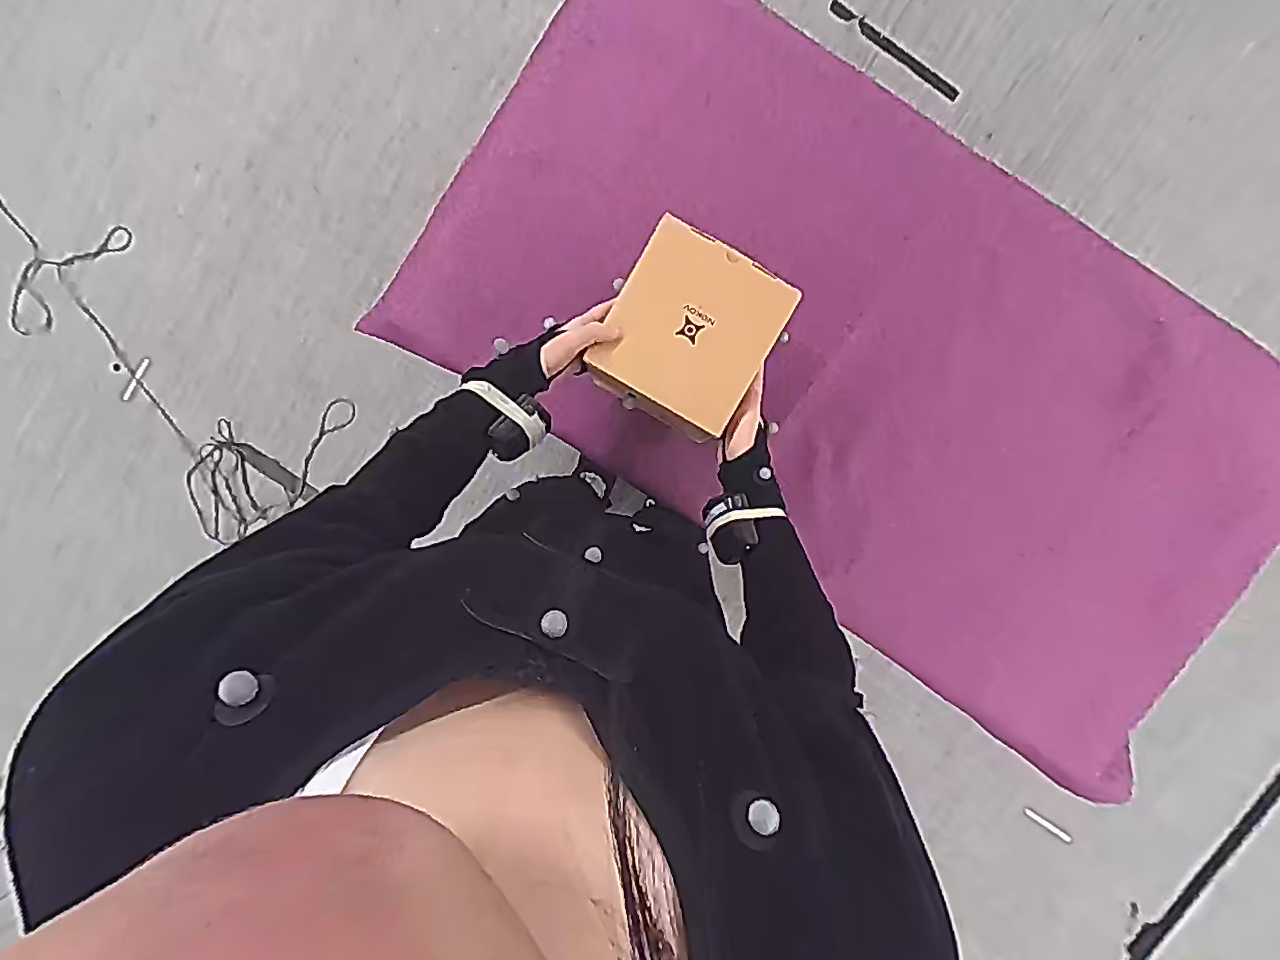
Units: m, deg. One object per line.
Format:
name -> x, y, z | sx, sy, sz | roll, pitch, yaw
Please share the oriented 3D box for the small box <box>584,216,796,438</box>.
small box -> 0.053, -0.163, 0.645 | 0.168, 0.176, 0.179 | 30, 90, -1
